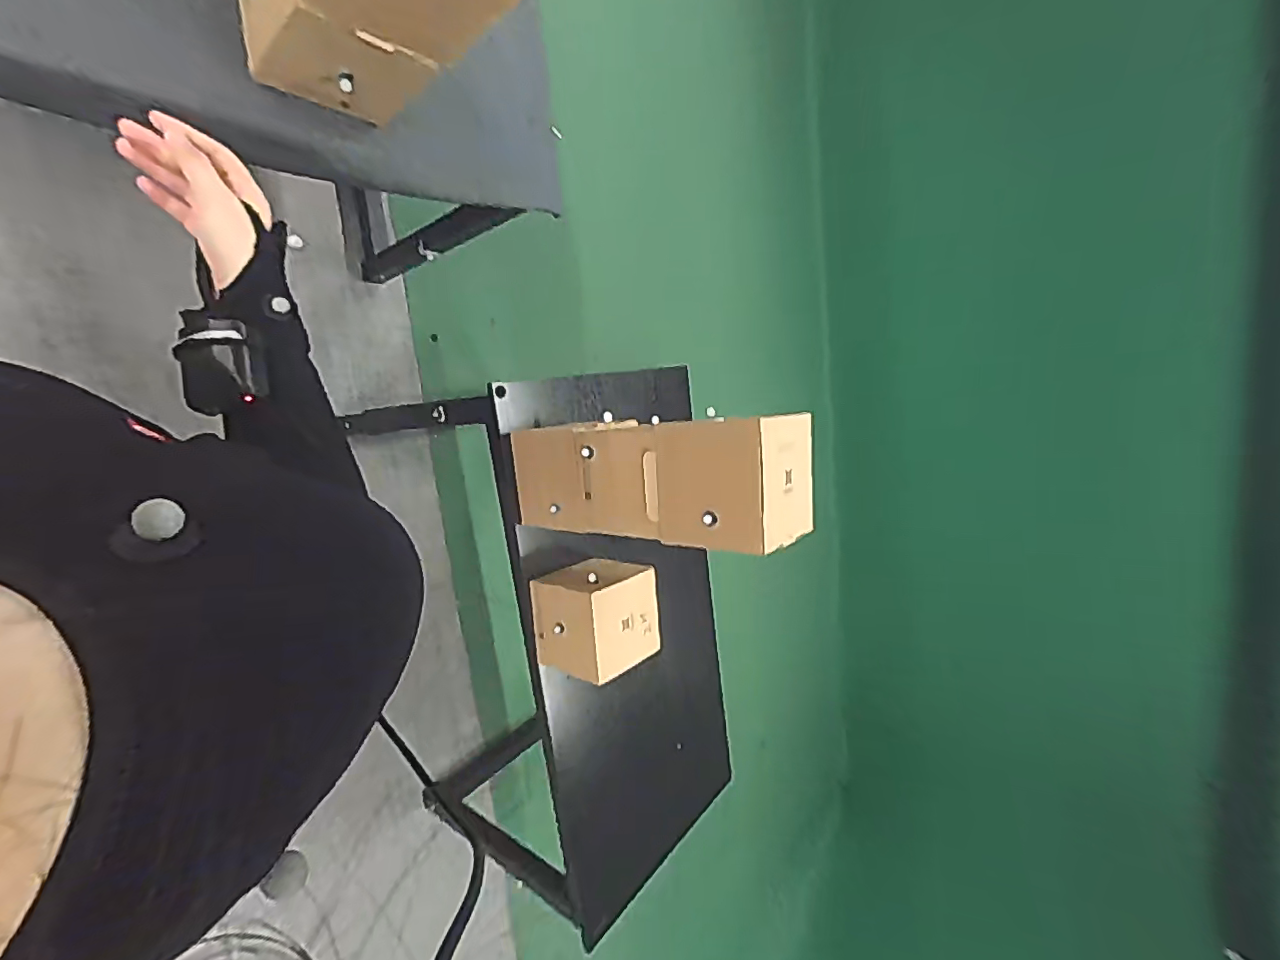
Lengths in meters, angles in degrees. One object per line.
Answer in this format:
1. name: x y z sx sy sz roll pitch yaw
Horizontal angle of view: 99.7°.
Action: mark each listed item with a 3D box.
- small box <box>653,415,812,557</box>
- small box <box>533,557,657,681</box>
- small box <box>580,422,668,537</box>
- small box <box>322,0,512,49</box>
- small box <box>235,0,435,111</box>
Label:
1. small box: 0.133 -0.002 0.776 0.168 0.176 0.179 -12 101 -50
2. small box: -0.090 0.253 1.030 0.179 0.176 0.168 -12 101 -49
3. small box: 0.014 -0.009 0.887 0.179 0.176 0.168 -13 102 -49
4. small box: -0.245 -0.597 0.559 0.179 0.176 0.168 -14 101 -47
5. small box: -0.375 -0.596 0.658 0.168 0.176 0.179 -12 100 -48
